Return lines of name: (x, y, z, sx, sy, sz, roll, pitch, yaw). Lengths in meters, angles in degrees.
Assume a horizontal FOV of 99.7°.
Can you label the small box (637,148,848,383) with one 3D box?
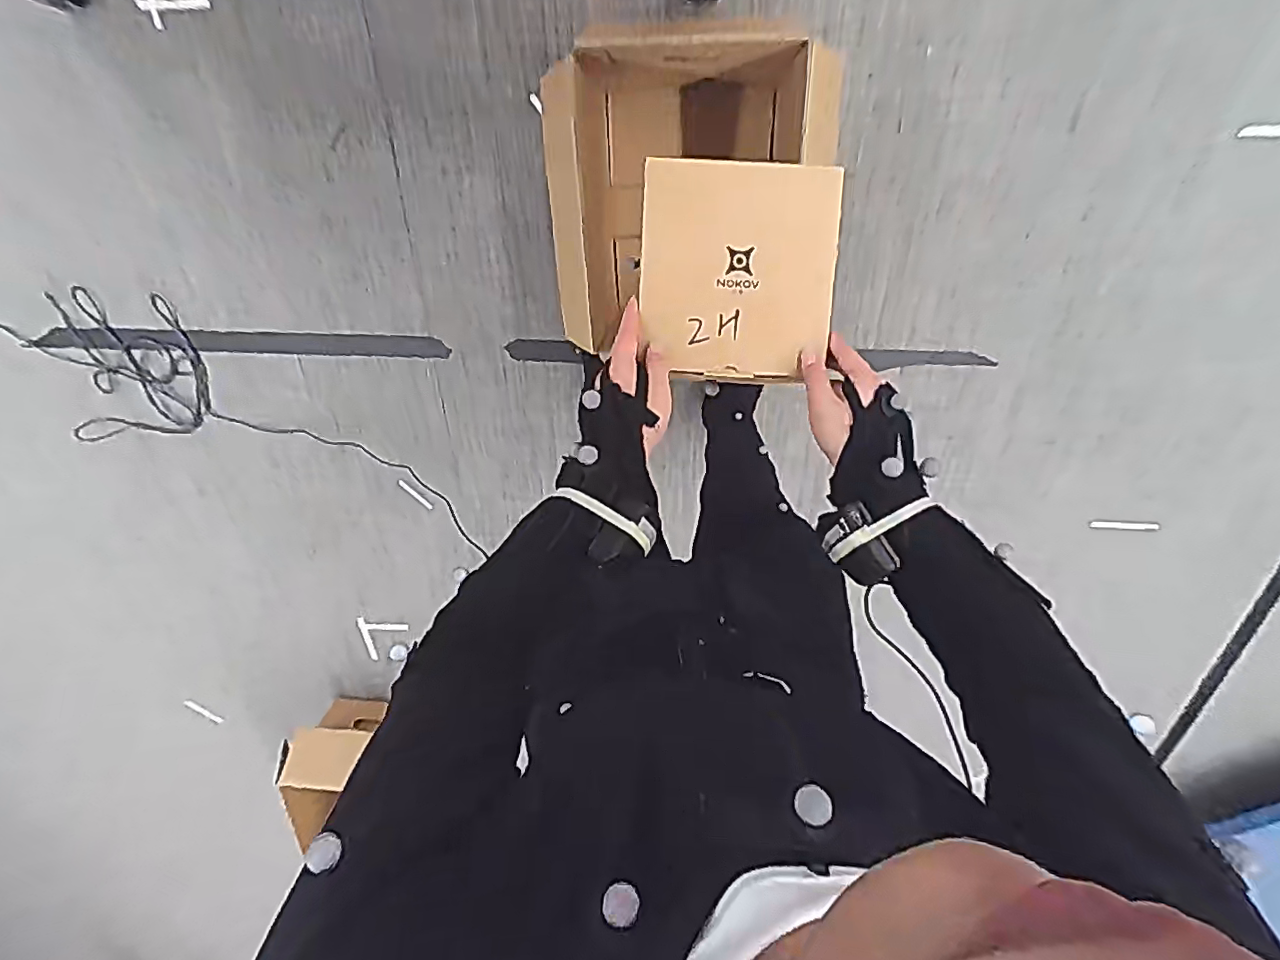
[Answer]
small box: (0.084, -0.190, 0.530, 0.168, 0.176, 0.179, 3, 99, 0)
